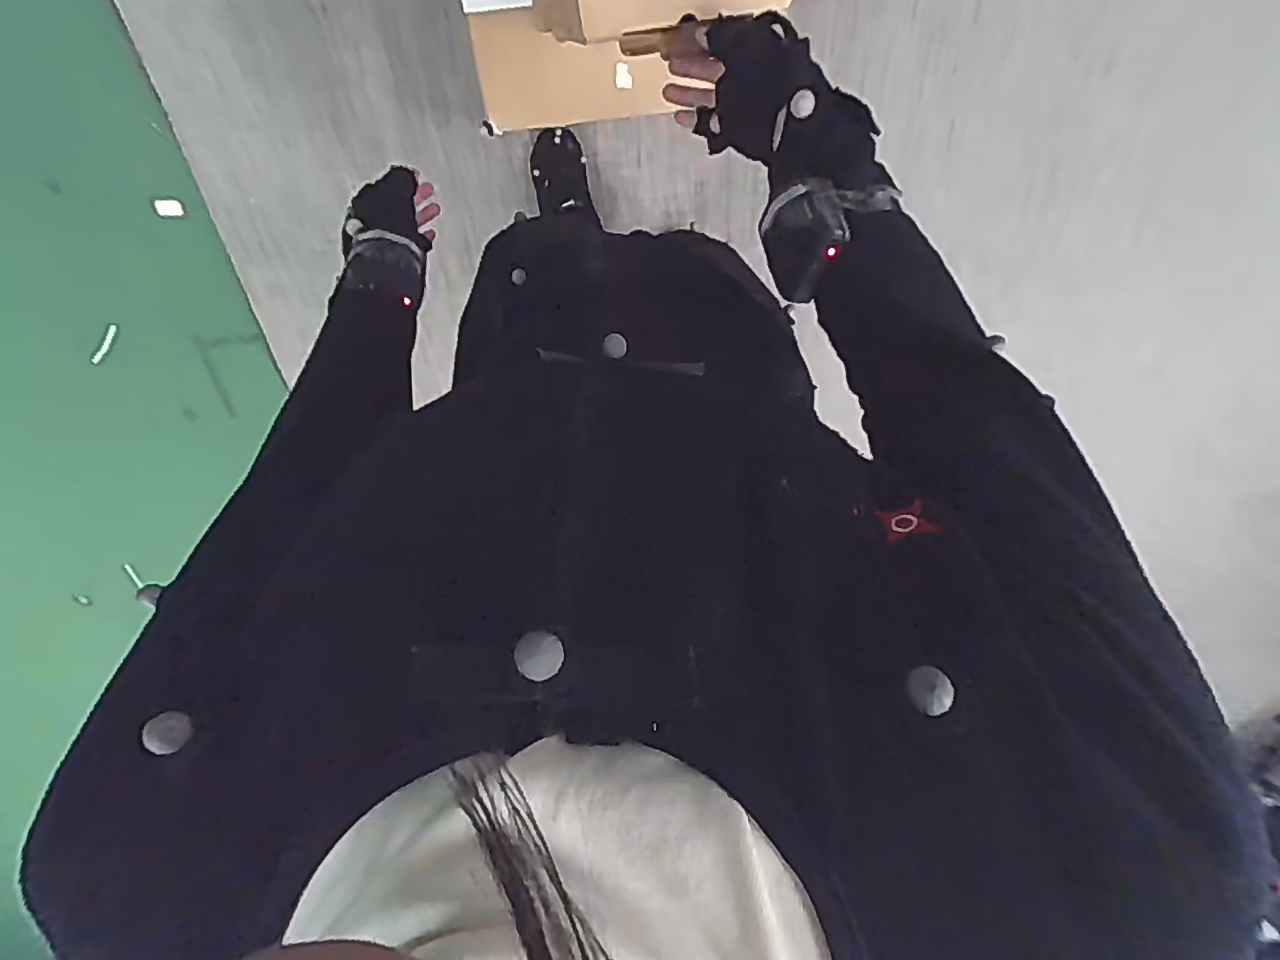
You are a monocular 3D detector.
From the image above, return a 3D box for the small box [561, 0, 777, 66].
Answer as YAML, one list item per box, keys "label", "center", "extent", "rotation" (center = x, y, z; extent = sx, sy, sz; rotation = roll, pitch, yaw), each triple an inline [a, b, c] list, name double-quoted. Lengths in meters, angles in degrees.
- label: "small box"
  center: [0.011, -0.460, 0.438]
  extent: [0.168, 0.176, 0.179]
  rotation: [-10, 130, -2]
